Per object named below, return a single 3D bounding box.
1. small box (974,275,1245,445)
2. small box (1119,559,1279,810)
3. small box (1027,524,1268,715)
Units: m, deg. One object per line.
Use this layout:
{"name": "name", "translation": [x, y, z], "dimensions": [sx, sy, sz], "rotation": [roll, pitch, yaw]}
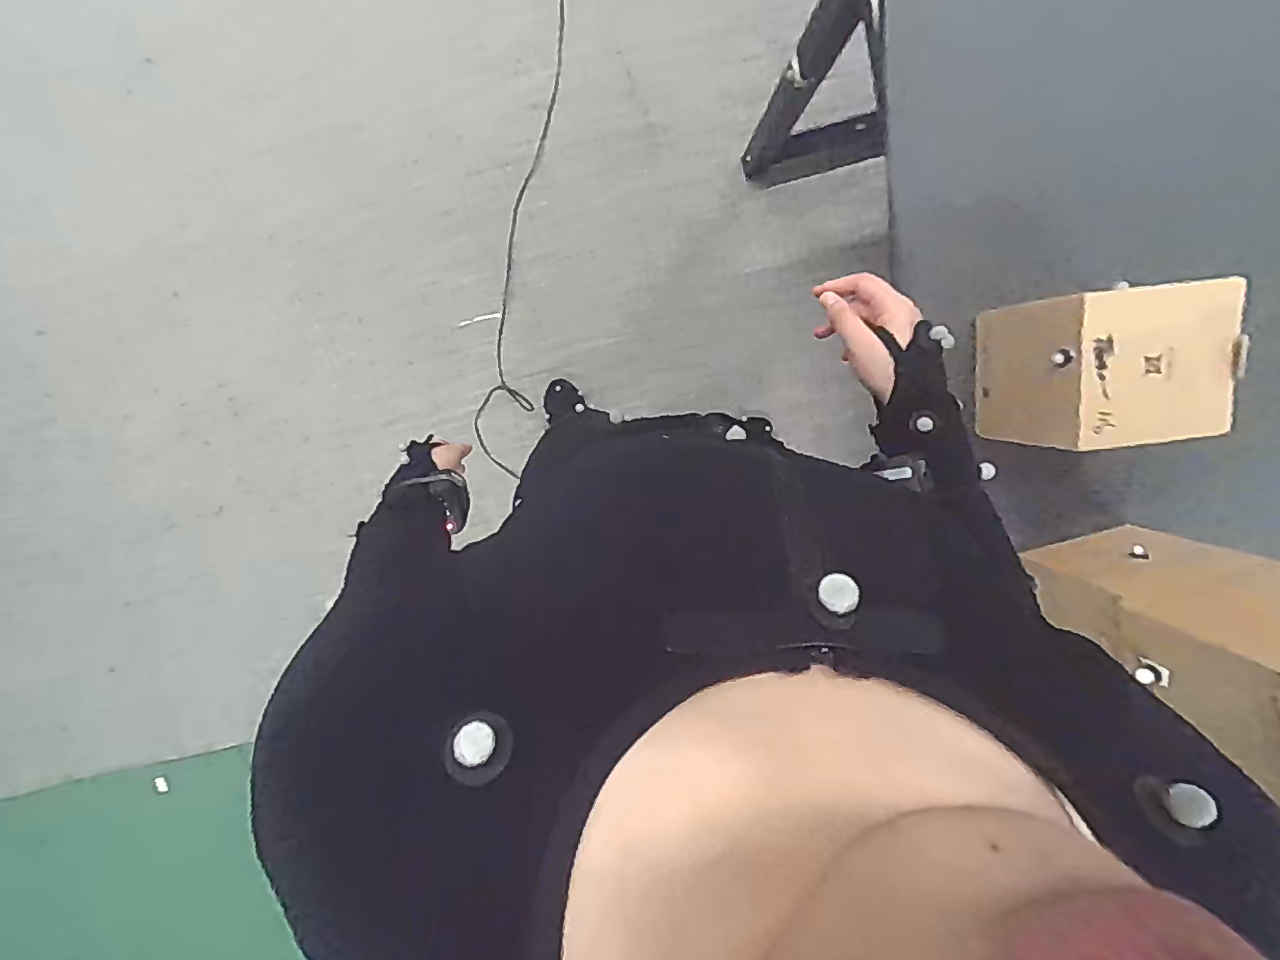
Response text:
{"name": "small box", "translation": [0.541, -0.139, 0.647], "dimensions": [0.179, 0.176, 0.168], "rotation": [-7, 100, -3]}
{"name": "small box", "translation": [0.646, 0.196, 0.542], "dimensions": [0.179, 0.176, 0.168], "rotation": [-18, 98, 0]}
{"name": "small box", "translation": [0.642, 0.169, 0.702], "dimensions": [0.179, 0.176, 0.168], "rotation": [-15, 99, -2]}
